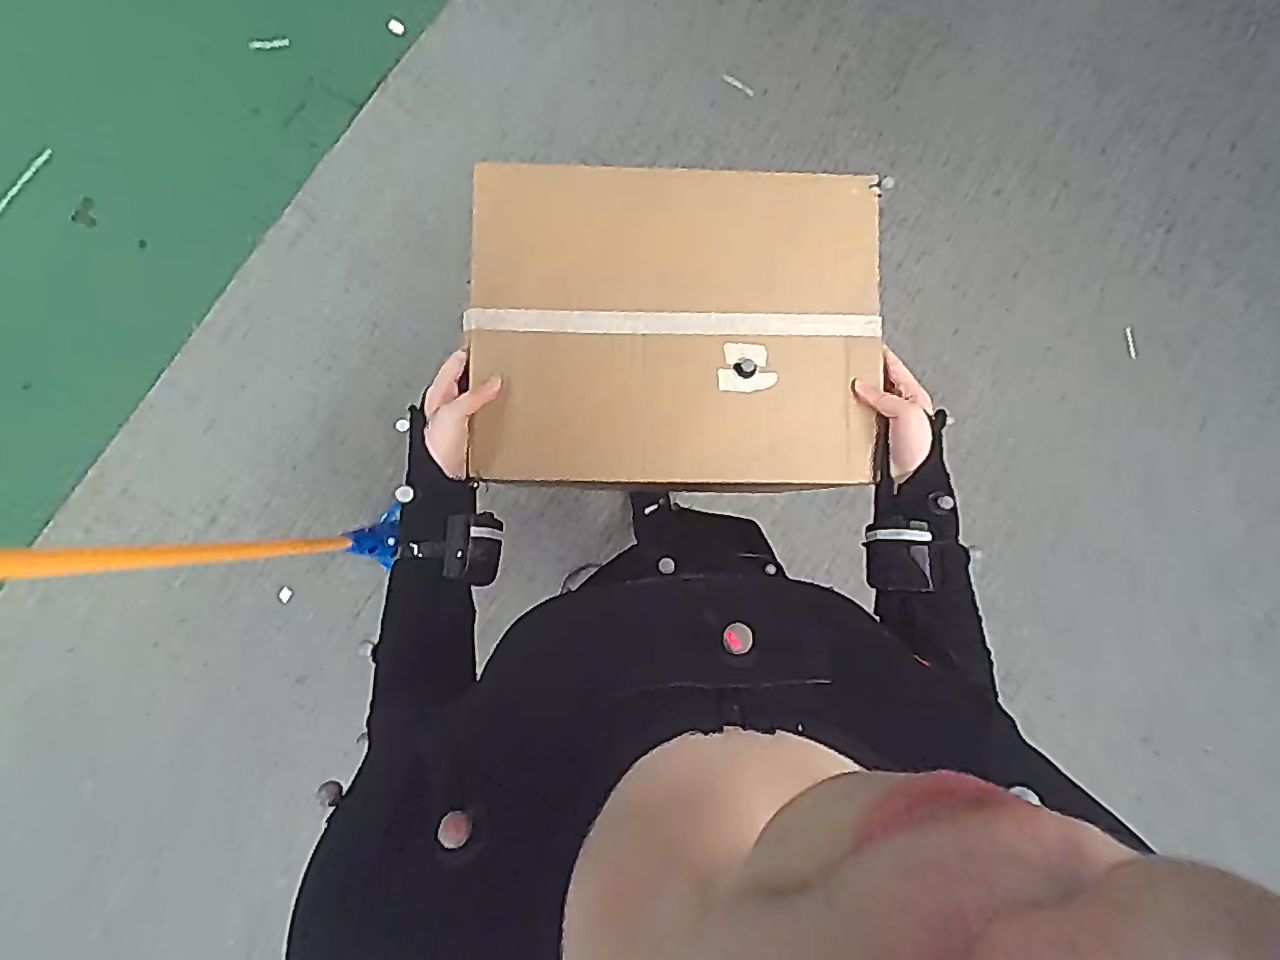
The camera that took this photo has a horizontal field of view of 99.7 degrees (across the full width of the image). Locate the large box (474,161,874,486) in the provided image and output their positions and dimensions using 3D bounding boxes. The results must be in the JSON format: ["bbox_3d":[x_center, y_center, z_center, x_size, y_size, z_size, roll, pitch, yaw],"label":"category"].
[{"bbox_3d":[0.025,-0.157,0.686,0.408,0.320,0.320,0,88,-4],"label":"large box"}]

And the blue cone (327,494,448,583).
[{"bbox_3d":[-0.629,0.141,1.299,0.192,0.380,0.193,40,84,3],"label":"blue cone"}]
